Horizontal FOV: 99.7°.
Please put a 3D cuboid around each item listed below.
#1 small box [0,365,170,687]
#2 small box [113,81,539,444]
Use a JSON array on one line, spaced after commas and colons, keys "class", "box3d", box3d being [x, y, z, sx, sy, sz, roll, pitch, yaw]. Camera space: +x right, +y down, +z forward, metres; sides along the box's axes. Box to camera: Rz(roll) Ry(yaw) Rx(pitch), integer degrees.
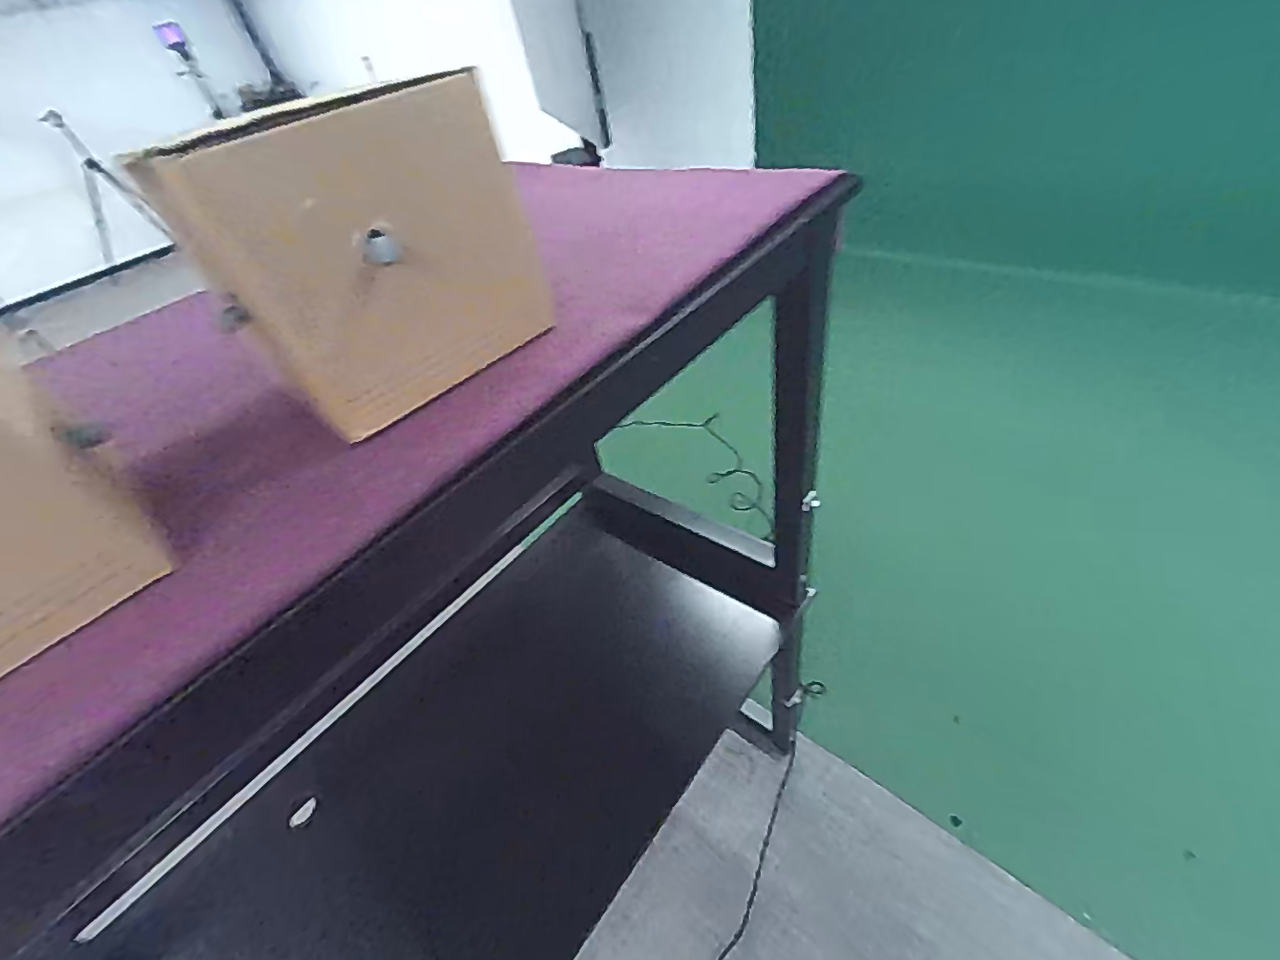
[{"class": "small box", "box3d": [-0.383, 0.021, 0.250, 0.168, 0.176, 0.179, 26, 56, 36]}, {"class": "small box", "box3d": [-0.203, -0.153, 0.385, 0.168, 0.176, 0.179, 27, 57, 36]}]
